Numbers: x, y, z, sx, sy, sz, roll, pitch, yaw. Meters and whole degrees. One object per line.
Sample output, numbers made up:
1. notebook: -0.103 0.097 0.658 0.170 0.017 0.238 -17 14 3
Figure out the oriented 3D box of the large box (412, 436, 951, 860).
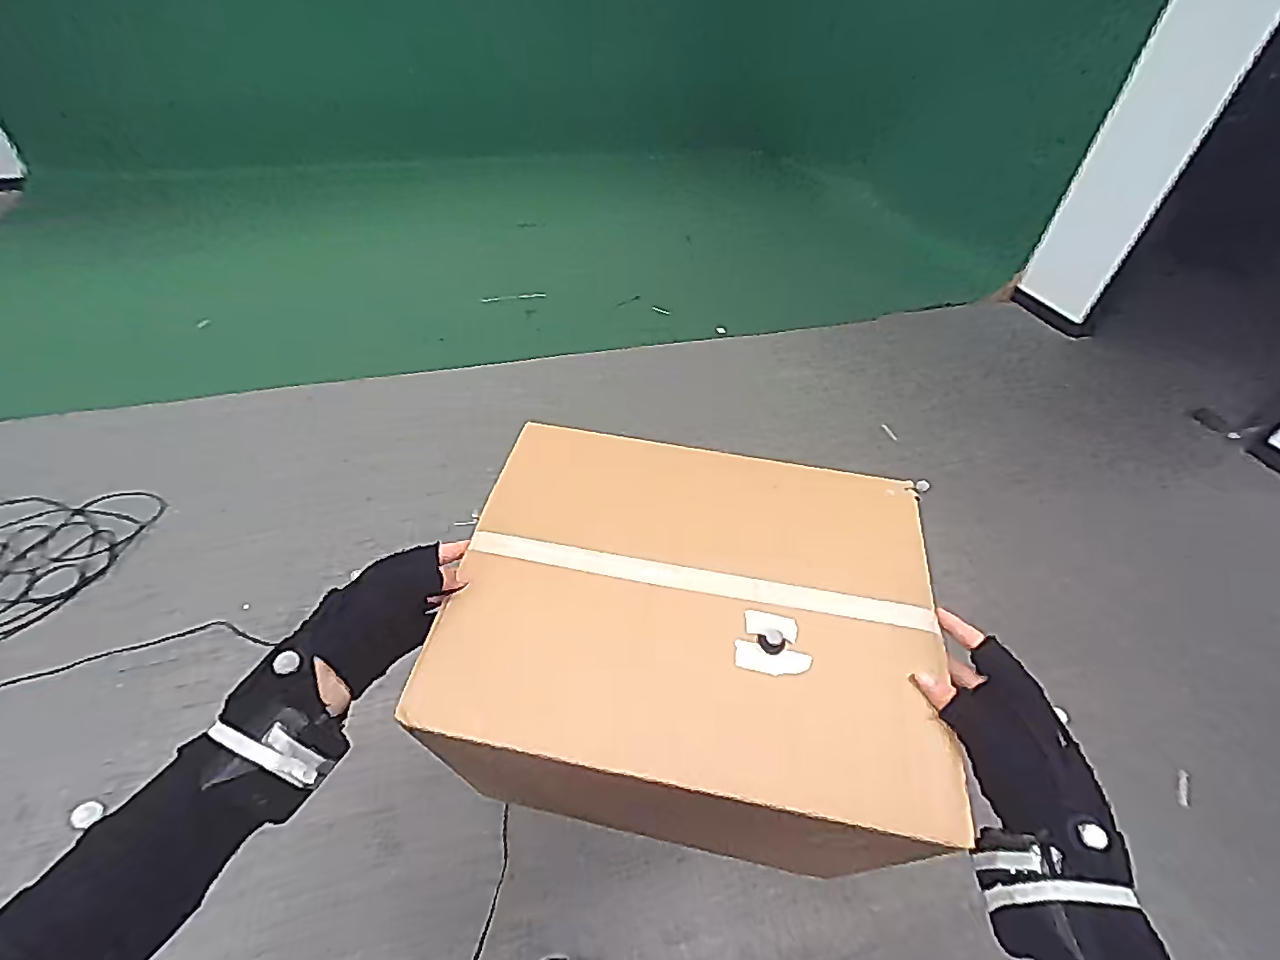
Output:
1. large box: 0.041 0.187 0.597 0.408 0.320 0.320 8 52 6
